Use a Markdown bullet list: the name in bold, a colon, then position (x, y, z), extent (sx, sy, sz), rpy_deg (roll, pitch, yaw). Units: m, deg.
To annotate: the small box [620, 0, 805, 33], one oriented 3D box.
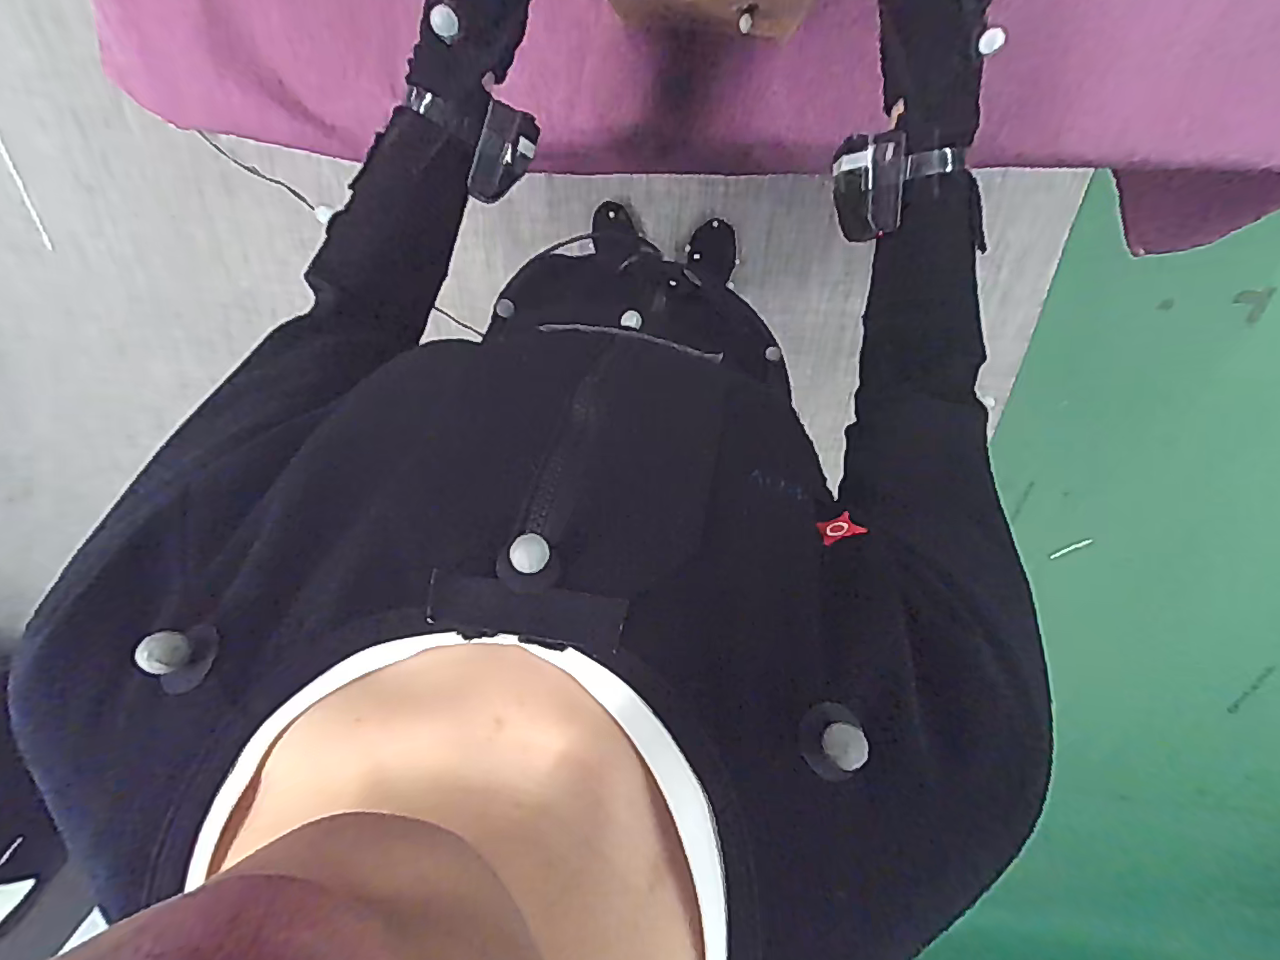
- **small box**: position (0.062, -0.463, 0.402), extent (0.168, 0.176, 0.179), rpy_deg (7, 119, 2)
